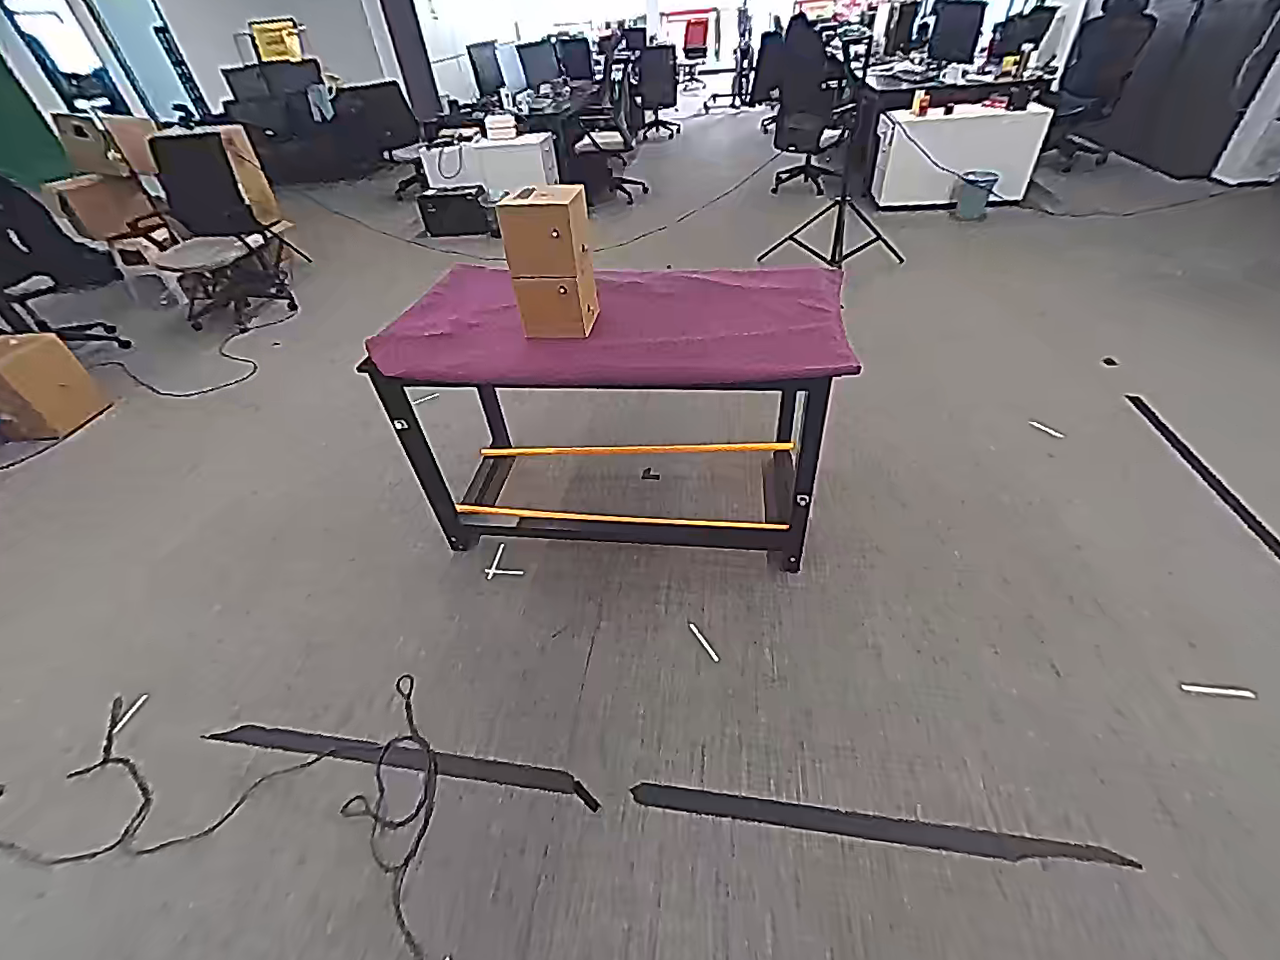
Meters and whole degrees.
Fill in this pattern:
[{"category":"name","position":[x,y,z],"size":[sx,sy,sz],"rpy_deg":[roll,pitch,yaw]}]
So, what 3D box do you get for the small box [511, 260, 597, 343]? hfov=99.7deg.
[{"category":"small box","position":[-0.224,-0.479,1.455],"size":[0.179,0.176,0.168],"rpy_deg":[3,42,9]}]
